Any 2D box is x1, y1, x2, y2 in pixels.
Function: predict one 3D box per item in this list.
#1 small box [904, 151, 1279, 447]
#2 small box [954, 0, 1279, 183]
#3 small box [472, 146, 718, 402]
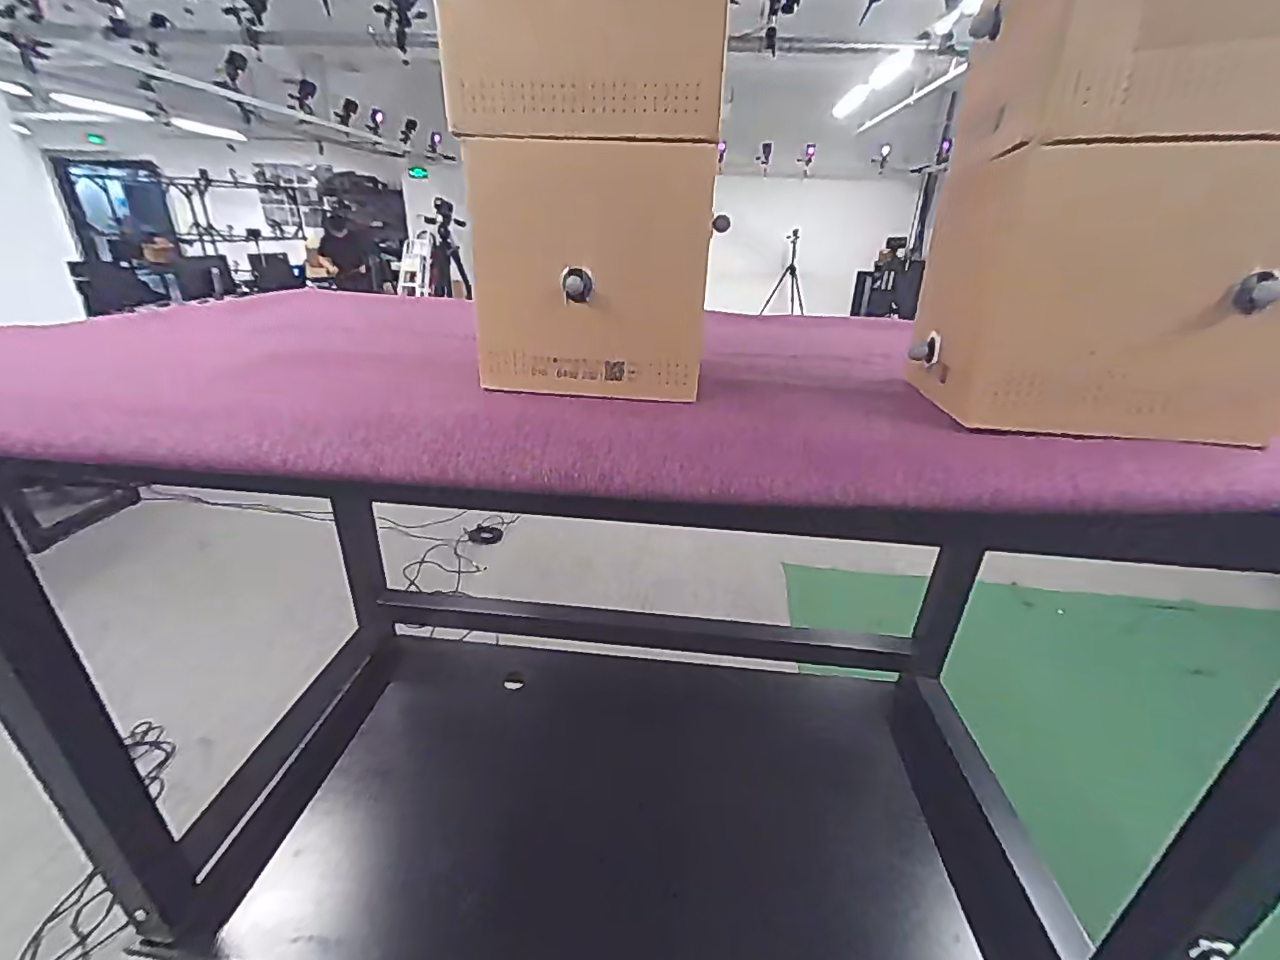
[{"bbox_3d":[0.318,-0.128,0.395,0.179,0.176,0.168,4,22,10],"label":"small box"},{"bbox_3d":[0.321,-0.281,0.340,0.179,0.176,0.168,7,22,12],"label":"small box"},{"bbox_3d":[-0.024,-0.170,0.456,0.168,0.176,0.179,5,24,4],"label":"small box"}]
